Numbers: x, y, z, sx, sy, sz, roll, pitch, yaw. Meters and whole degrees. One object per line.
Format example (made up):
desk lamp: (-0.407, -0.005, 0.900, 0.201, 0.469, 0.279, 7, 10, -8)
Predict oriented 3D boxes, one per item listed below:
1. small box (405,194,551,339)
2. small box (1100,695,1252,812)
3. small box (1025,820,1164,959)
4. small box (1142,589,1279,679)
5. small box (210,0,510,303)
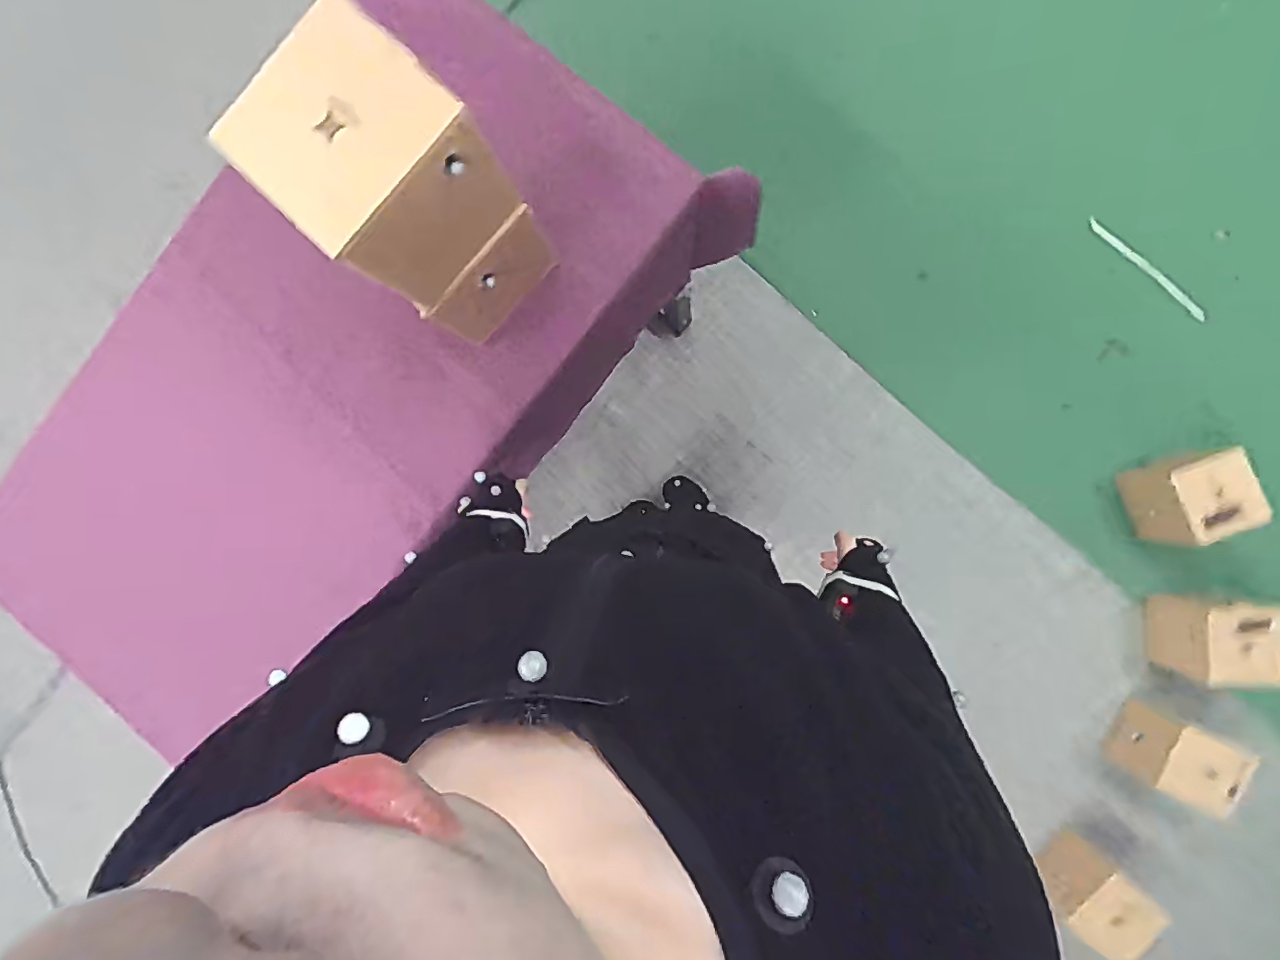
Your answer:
small box: (-0.244, -0.314, 0.713, 0.179, 0.176, 0.168, -44, 88, 4)
small box: (1.293, 0.654, 1.321, 0.179, 0.176, 0.168, 25, 93, 4)
small box: (1.108, 1.006, 1.342, 0.168, 0.176, 0.179, 41, 94, 3)
small box: (1.370, 0.365, 1.309, 0.168, 0.176, 0.179, -2, 92, 5)
small box: (-0.263, -0.314, 0.552, 0.168, 0.176, 0.179, 43, 94, 3)
